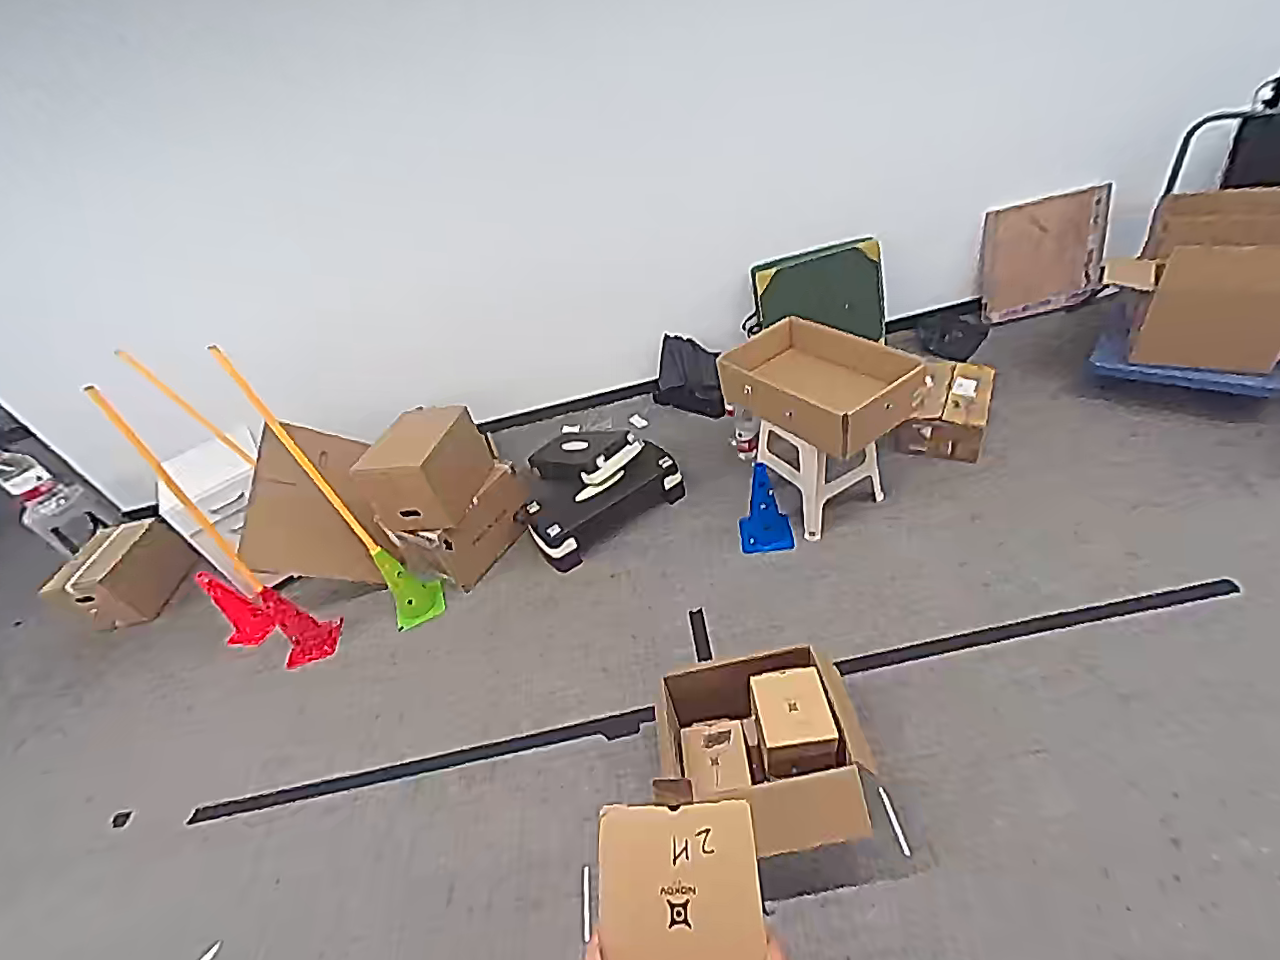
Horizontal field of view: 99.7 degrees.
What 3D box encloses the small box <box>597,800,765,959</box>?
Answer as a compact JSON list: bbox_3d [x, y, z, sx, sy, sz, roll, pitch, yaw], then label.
[{"bbox_3d":[0.047,0.467,0.609,0.168,0.176,0.179,-4,55,4],"label":"small box"}]
